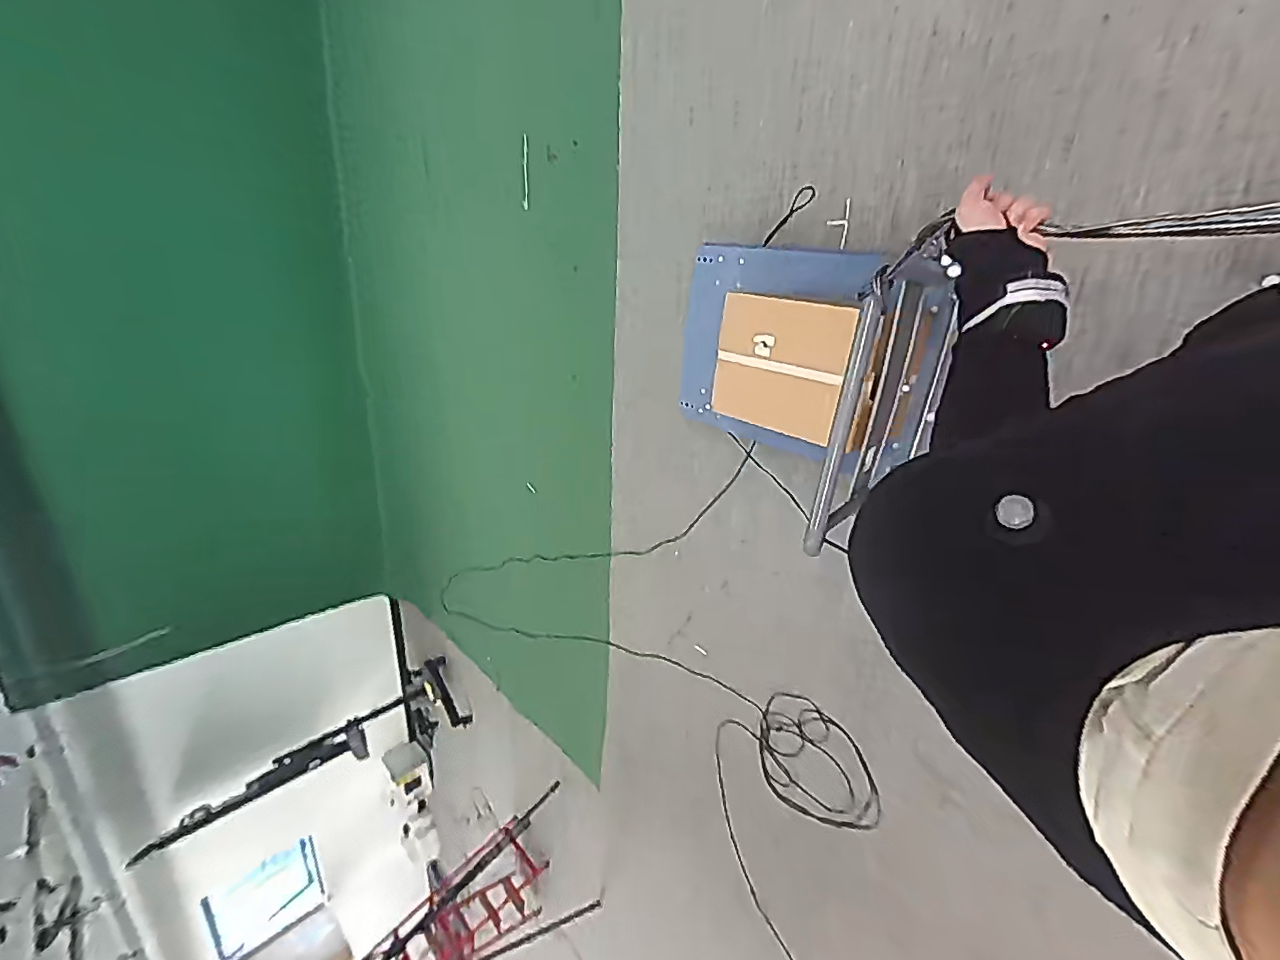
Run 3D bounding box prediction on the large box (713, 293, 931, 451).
[{"bbox_3d":[0.453,-0.297,1.384,0.408,0.320,0.320,25,119,40],"label":"large box"}]
